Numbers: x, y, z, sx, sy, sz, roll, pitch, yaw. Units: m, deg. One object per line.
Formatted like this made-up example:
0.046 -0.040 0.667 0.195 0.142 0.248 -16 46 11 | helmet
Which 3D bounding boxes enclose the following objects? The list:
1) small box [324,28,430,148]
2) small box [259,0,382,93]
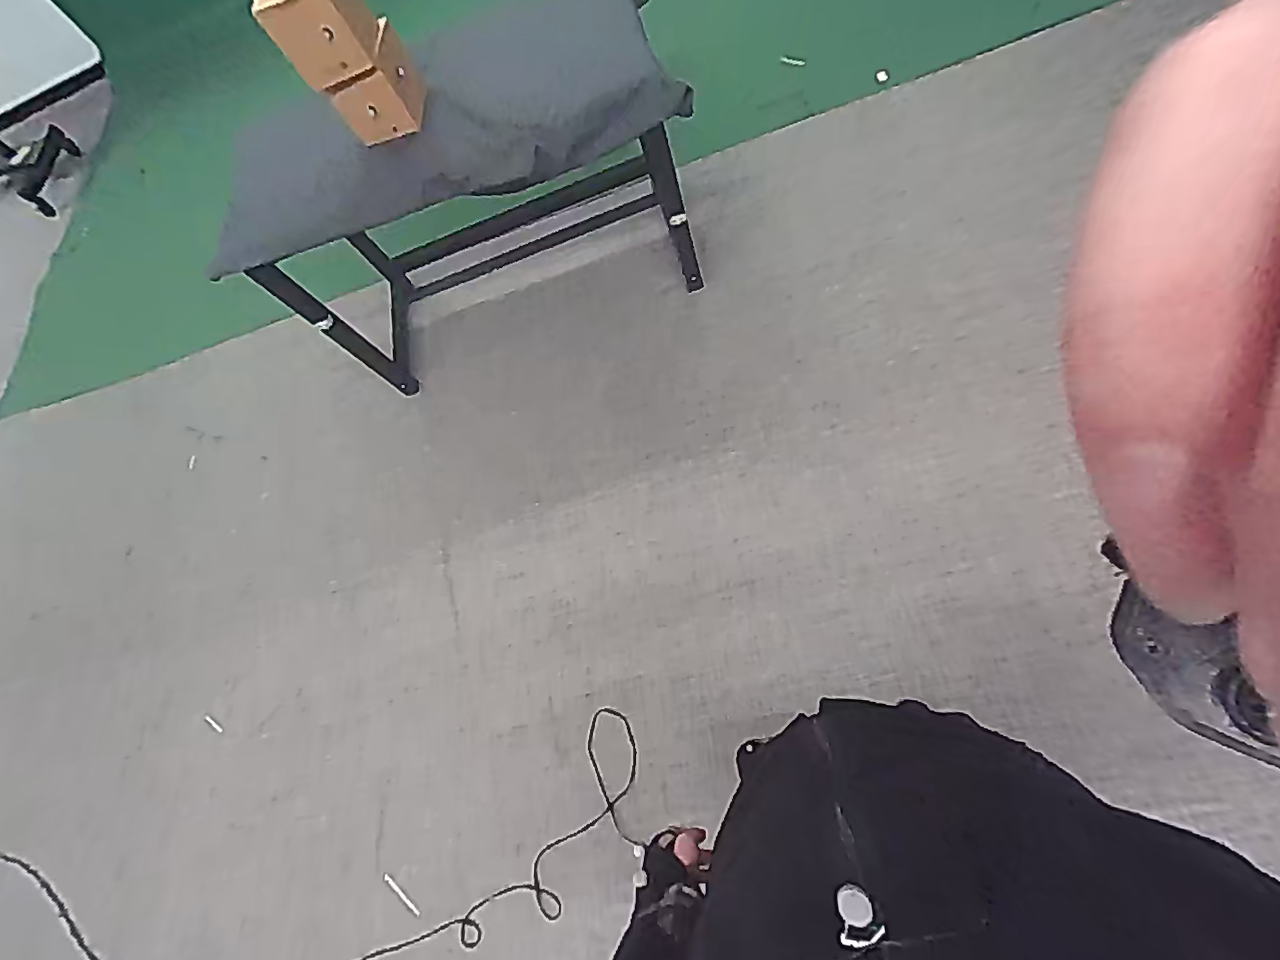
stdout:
-0.655 -0.977 1.367 0.168 0.176 0.179 -8 68 13 | small box
-0.705 -1.012 1.214 0.168 0.176 0.179 -13 65 10 | small box
